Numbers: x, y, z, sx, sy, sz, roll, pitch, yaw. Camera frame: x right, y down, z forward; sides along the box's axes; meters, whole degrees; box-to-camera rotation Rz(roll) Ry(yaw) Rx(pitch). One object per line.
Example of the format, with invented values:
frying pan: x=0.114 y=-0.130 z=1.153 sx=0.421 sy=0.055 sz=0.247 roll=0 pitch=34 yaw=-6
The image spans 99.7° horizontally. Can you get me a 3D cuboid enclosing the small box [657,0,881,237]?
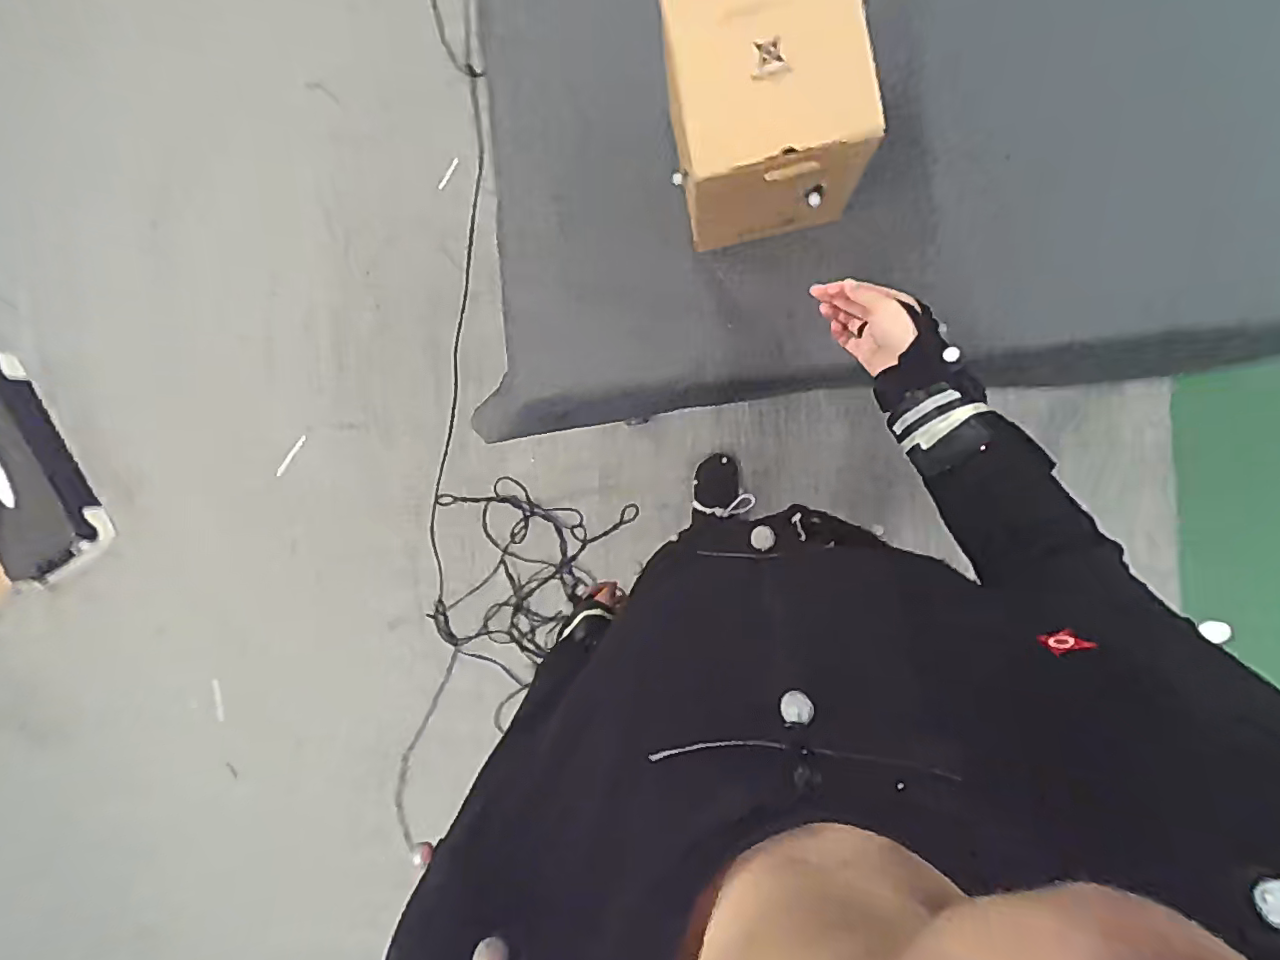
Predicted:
small box: x=0.119 y=-0.368 z=0.543 sx=0.168 sy=0.176 sz=0.179 roll=-12 pitch=89 yaw=6
